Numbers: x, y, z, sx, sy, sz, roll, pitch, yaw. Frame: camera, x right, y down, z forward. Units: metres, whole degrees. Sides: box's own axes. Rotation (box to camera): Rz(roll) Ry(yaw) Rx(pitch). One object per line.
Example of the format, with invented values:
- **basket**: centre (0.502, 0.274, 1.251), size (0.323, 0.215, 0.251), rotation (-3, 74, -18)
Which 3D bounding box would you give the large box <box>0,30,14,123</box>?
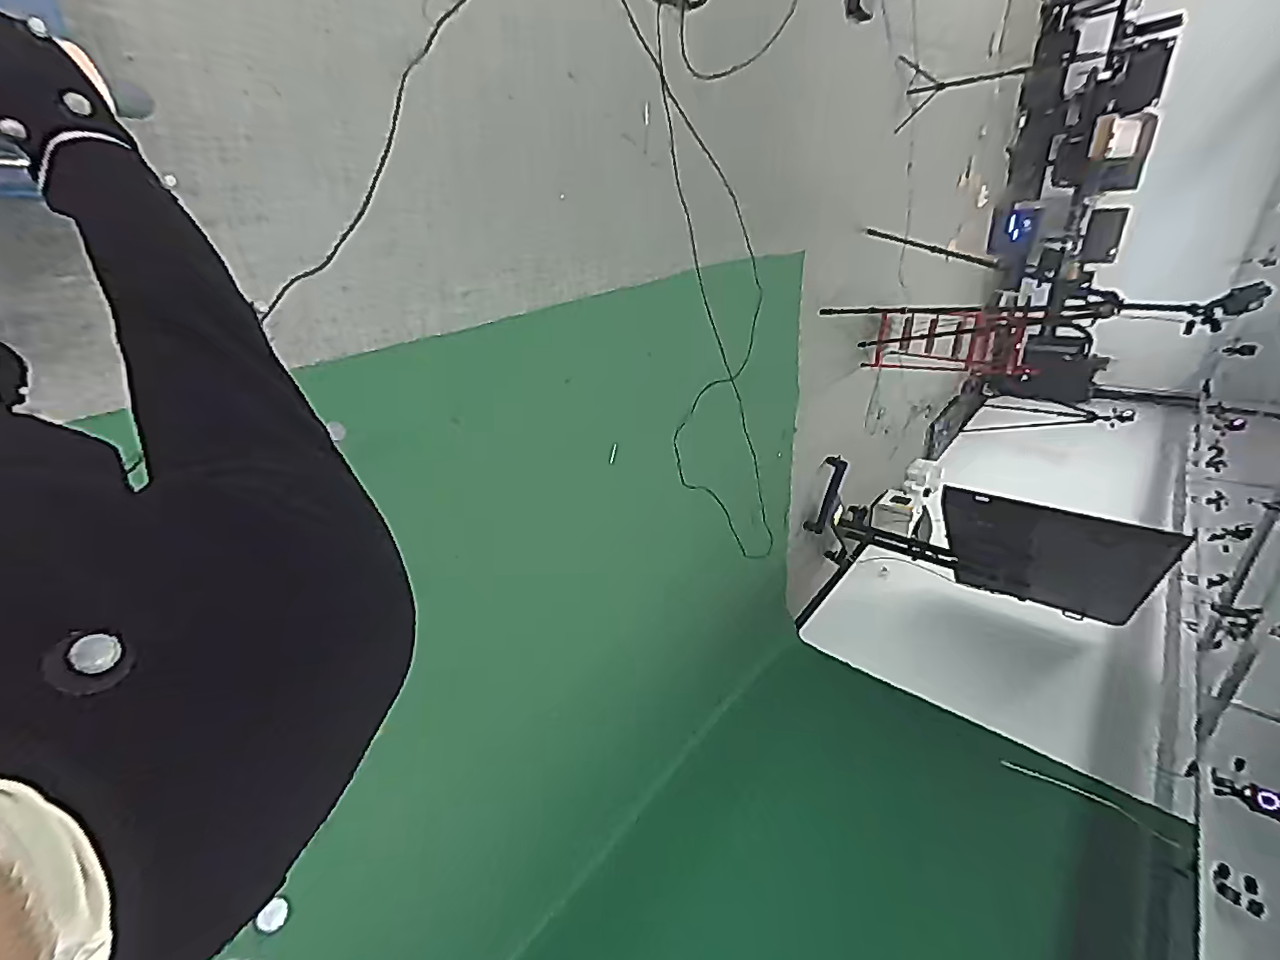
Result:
- **large box**: centre (-1.021, -0.680, 0.609), size (0.320, 0.320, 0.408), rotation (-25, 121, -44)
